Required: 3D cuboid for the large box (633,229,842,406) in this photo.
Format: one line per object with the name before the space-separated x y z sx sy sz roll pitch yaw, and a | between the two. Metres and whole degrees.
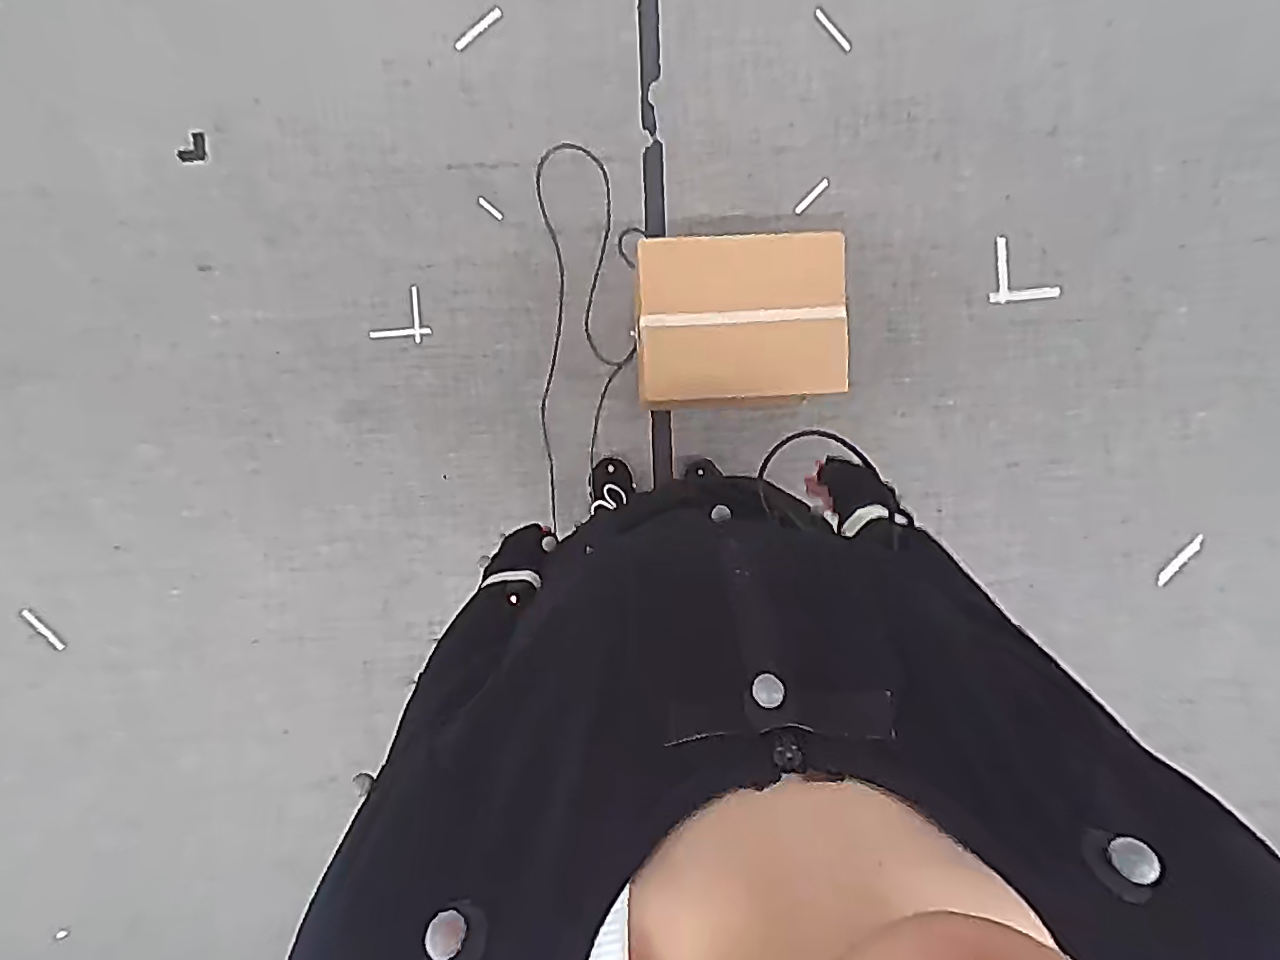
large box | 0.196 -0.337 1.210 0.408 0.320 0.320 -3 94 -1
